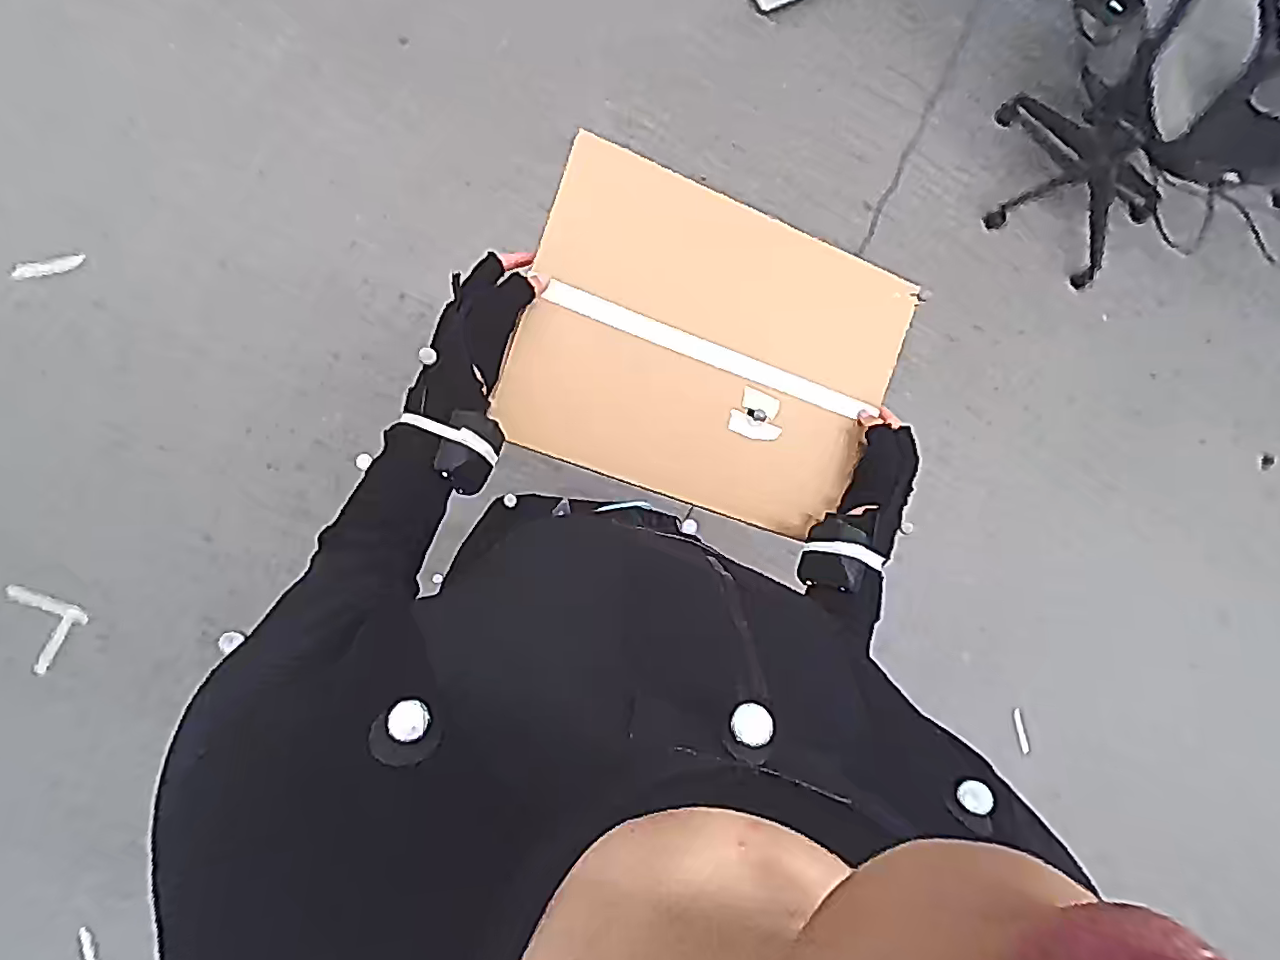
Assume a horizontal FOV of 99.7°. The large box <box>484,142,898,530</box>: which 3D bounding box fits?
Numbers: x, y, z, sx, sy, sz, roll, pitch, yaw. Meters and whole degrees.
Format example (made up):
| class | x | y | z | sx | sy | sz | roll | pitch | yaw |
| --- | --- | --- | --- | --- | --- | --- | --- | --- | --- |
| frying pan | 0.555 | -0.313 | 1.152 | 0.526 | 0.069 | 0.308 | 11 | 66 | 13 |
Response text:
| class | x | y | z | sx | sy | sz | roll | pitch | yaw |
| --- | --- | --- | --- | --- | --- | --- | --- | --- | --- |
| large box | 0.039 | -0.154 | 0.731 | 0.408 | 0.320 | 0.320 | 18 | 92 | -12 |
